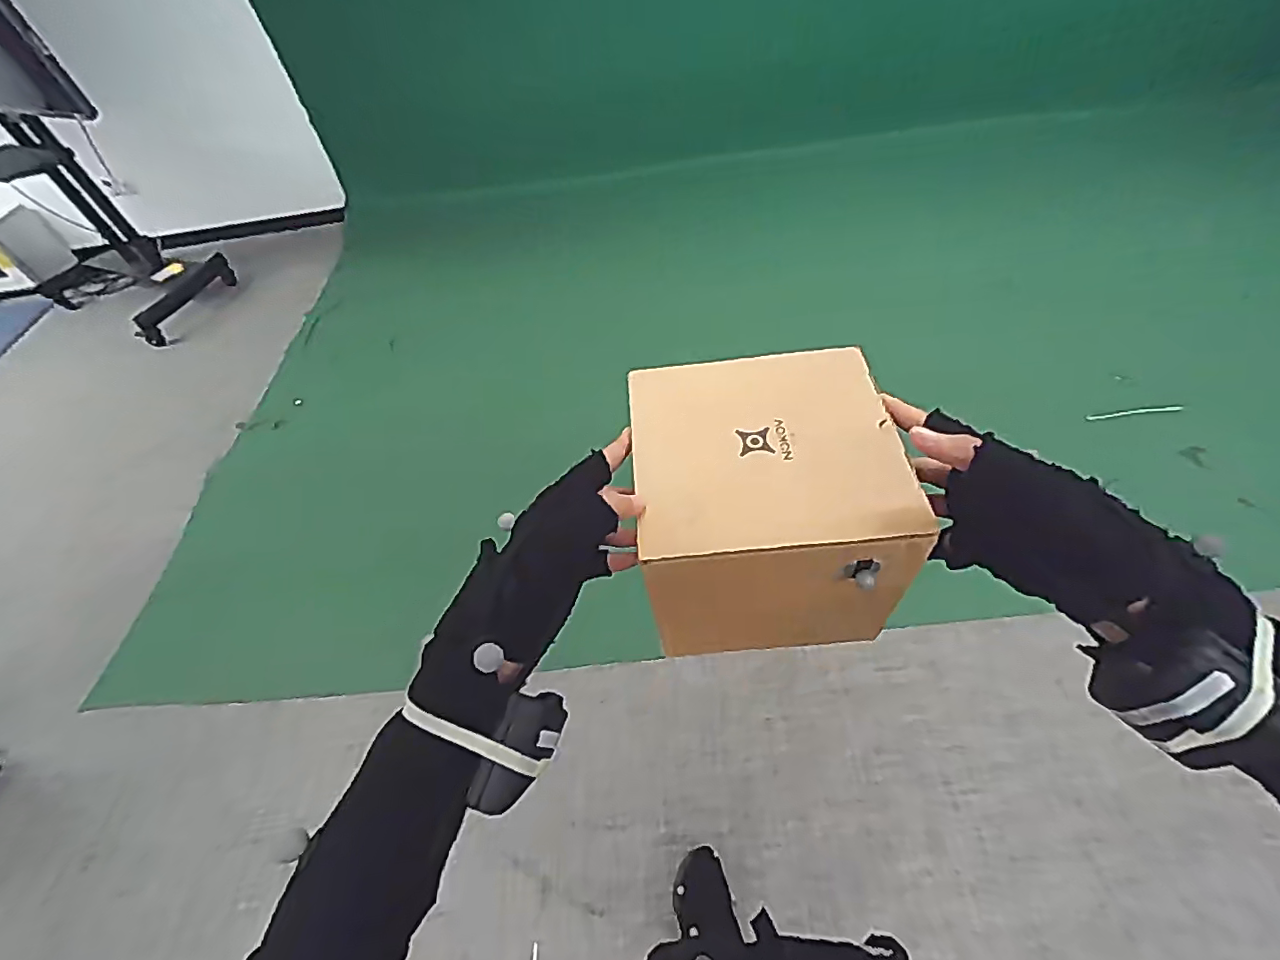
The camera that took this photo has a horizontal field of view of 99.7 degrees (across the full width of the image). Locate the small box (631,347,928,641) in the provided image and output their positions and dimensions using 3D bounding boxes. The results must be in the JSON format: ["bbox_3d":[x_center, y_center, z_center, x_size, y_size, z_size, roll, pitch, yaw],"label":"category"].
[{"bbox_3d":[0.091,0.019,0.434,0.179,0.176,0.168,-6,53,3],"label":"small box"}]
